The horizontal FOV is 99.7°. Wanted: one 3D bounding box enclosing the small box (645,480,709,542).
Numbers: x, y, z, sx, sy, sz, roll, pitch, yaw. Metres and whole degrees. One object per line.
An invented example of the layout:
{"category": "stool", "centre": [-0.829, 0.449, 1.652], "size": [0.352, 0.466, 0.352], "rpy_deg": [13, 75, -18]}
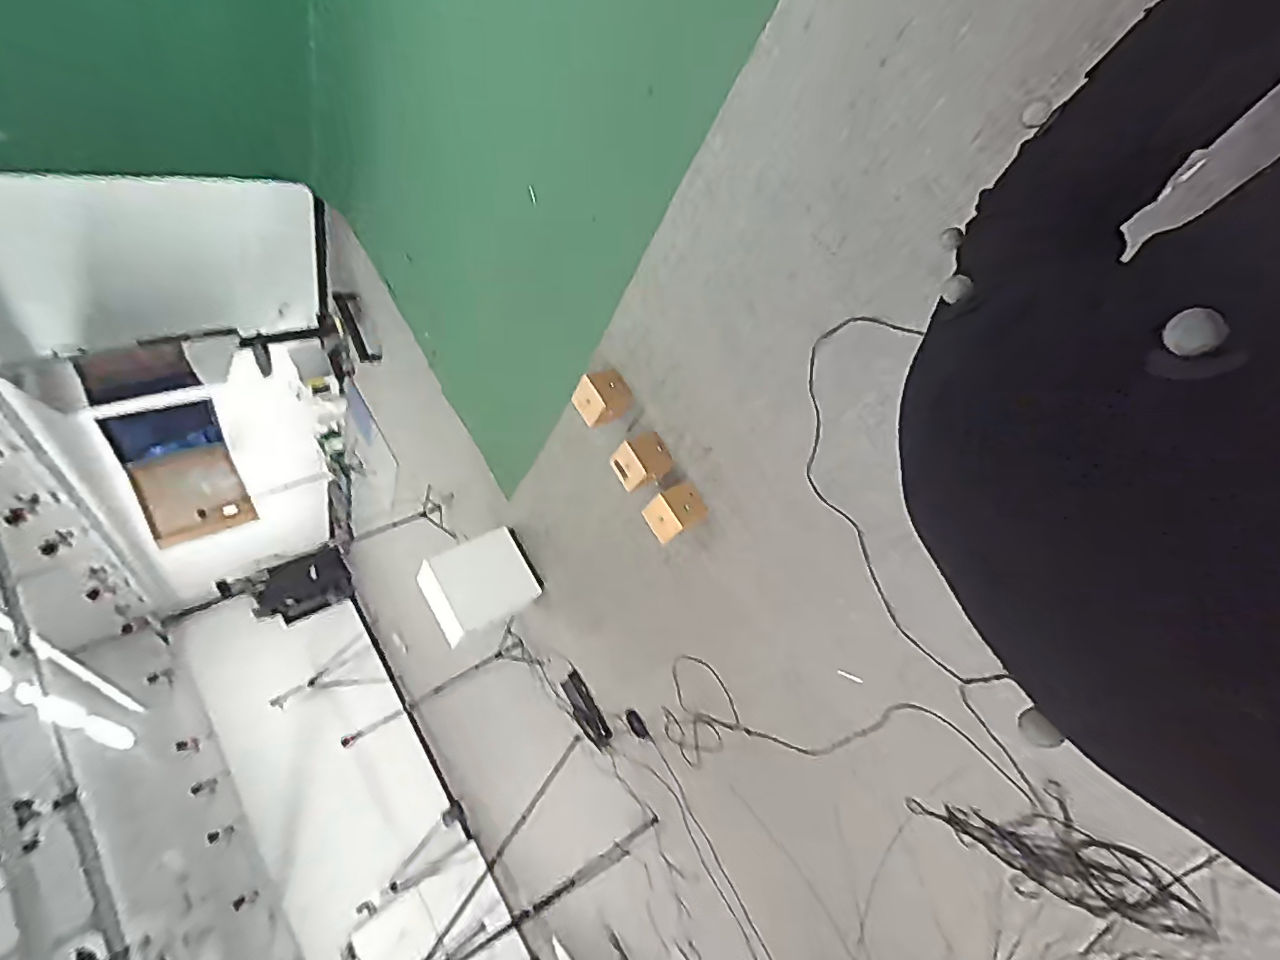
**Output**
{"category": "small box", "centre": [0.160, 0.122, 2.216], "size": [0.168, 0.176, 0.179], "rpy_deg": [56, 142, 13]}

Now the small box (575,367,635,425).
{"category": "small box", "centre": [-0.146, -0.367, 2.337], "size": [0.168, 0.176, 0.179], "rpy_deg": [57, 141, 14]}
